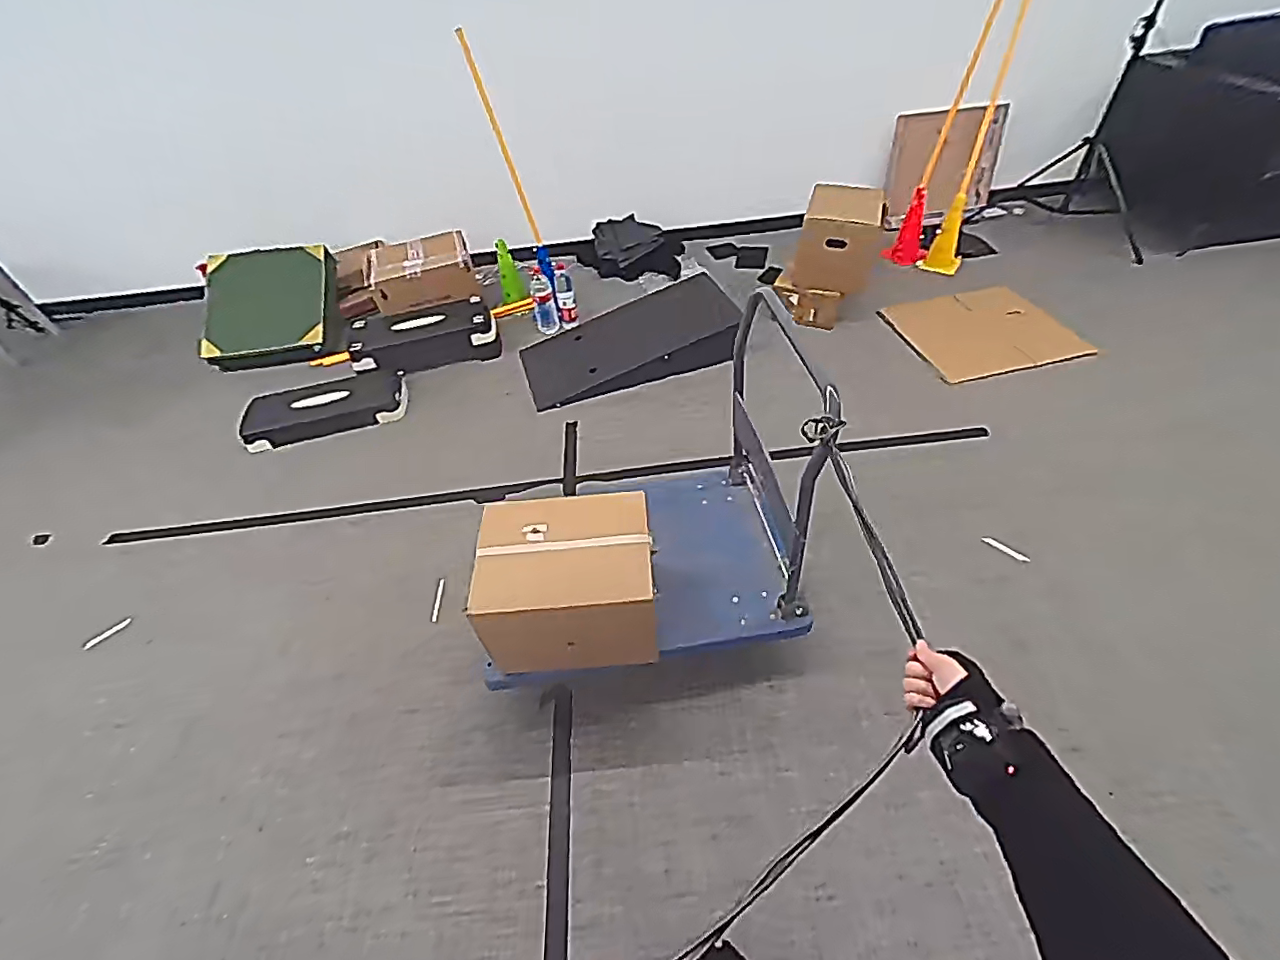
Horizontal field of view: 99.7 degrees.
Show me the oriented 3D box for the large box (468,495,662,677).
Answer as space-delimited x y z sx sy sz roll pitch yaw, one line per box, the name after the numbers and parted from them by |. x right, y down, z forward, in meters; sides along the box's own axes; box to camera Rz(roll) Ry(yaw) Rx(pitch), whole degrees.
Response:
-0.165 0.268 1.346 0.408 0.320 0.320 -6 46 1 | large box
